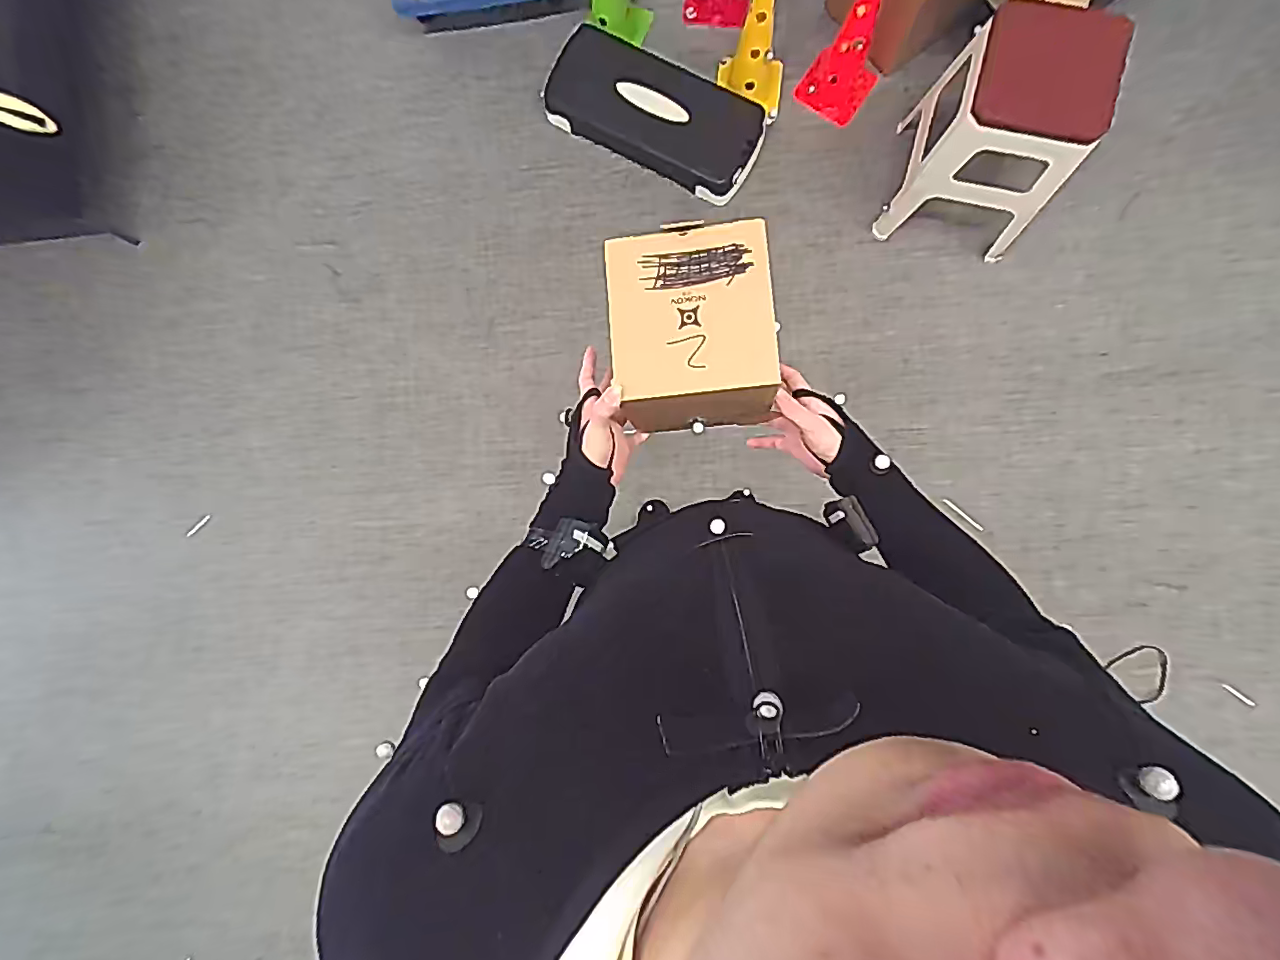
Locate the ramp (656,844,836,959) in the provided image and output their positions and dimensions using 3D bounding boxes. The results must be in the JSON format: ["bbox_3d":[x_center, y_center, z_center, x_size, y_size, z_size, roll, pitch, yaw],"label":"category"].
[{"bbox_3d":[0.311,1.552,1.462,0.509,0.206,0.991,-6,86,5],"label":"ramp"}]
